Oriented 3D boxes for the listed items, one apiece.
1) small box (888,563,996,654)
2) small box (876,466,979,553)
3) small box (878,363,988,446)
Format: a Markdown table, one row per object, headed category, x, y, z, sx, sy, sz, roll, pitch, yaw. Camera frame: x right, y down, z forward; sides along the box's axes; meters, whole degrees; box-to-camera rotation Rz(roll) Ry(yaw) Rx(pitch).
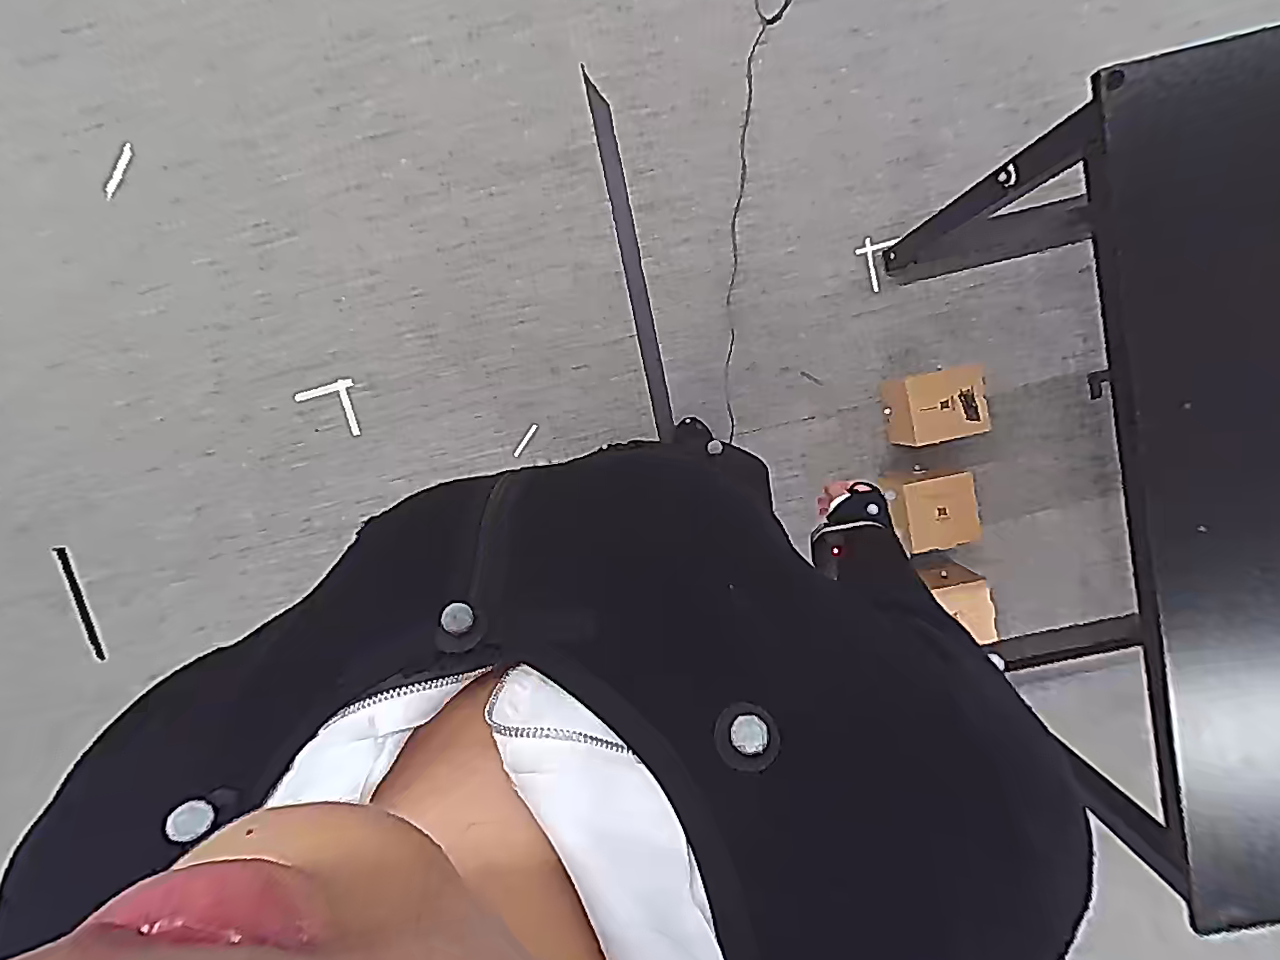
| category | x | y | z | sx | sy | sz | roll | pitch | yaw |
| --- | --- | --- | --- | --- | --- | --- | --- | --- | --- |
| small box | 0.778 | 0.325 | 1.406 | 0.179 | 0.176 | 0.168 | -13 | 95 | 4 |
| small box | 0.725 | 0.069 | 1.380 | 0.168 | 0.176 | 0.179 | -13 | 95 | 4 |
| small box | 0.722 | -0.187 | 1.347 | 0.179 | 0.176 | 0.168 | -13 | 96 | 5 |
